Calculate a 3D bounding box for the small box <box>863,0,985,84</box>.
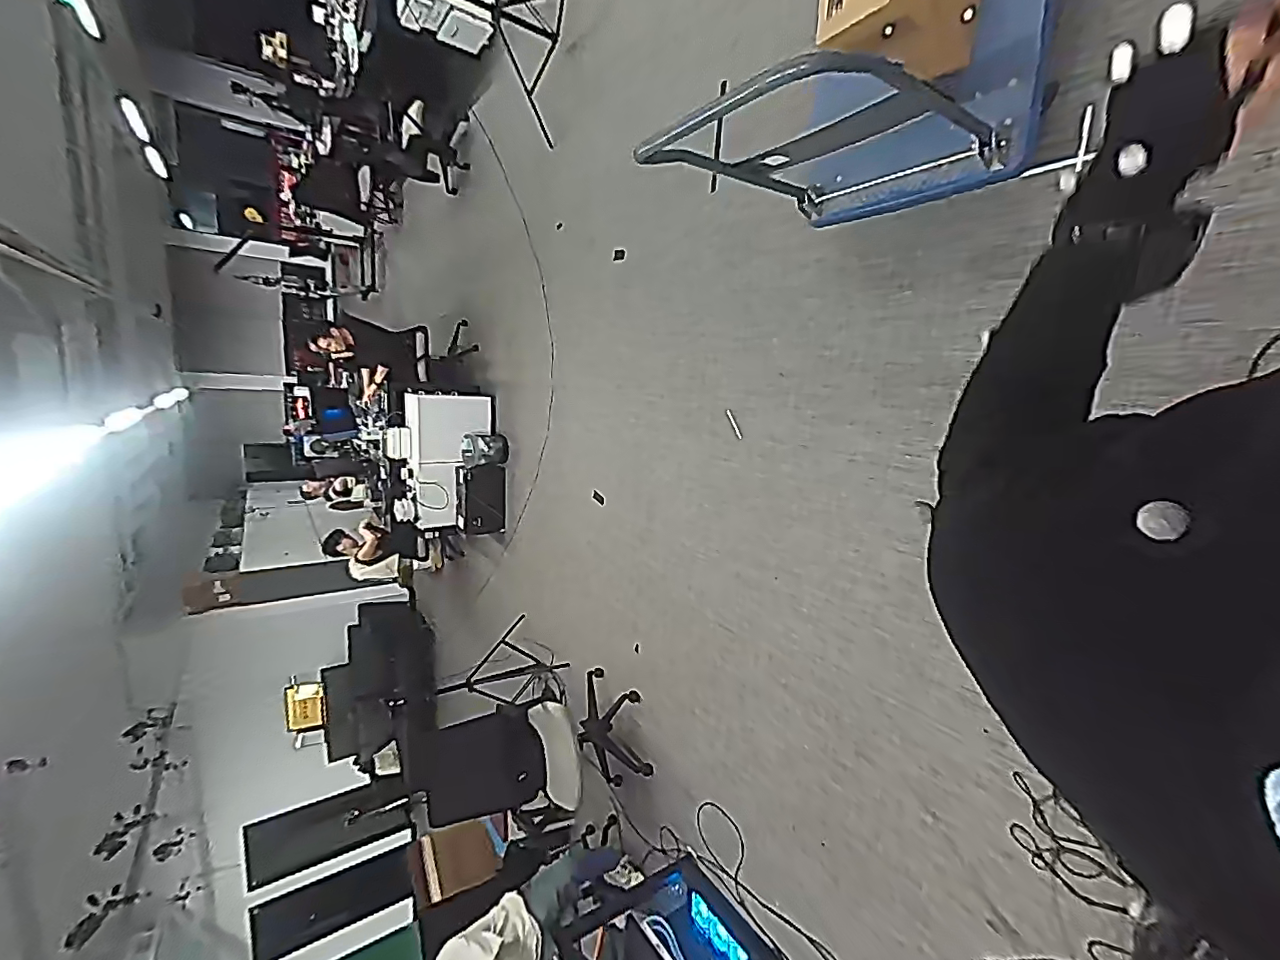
[{"bbox_3d":[0.641,-1.036,1.220,0.179,0.176,0.168,21,111,52],"label":"small box"}]
